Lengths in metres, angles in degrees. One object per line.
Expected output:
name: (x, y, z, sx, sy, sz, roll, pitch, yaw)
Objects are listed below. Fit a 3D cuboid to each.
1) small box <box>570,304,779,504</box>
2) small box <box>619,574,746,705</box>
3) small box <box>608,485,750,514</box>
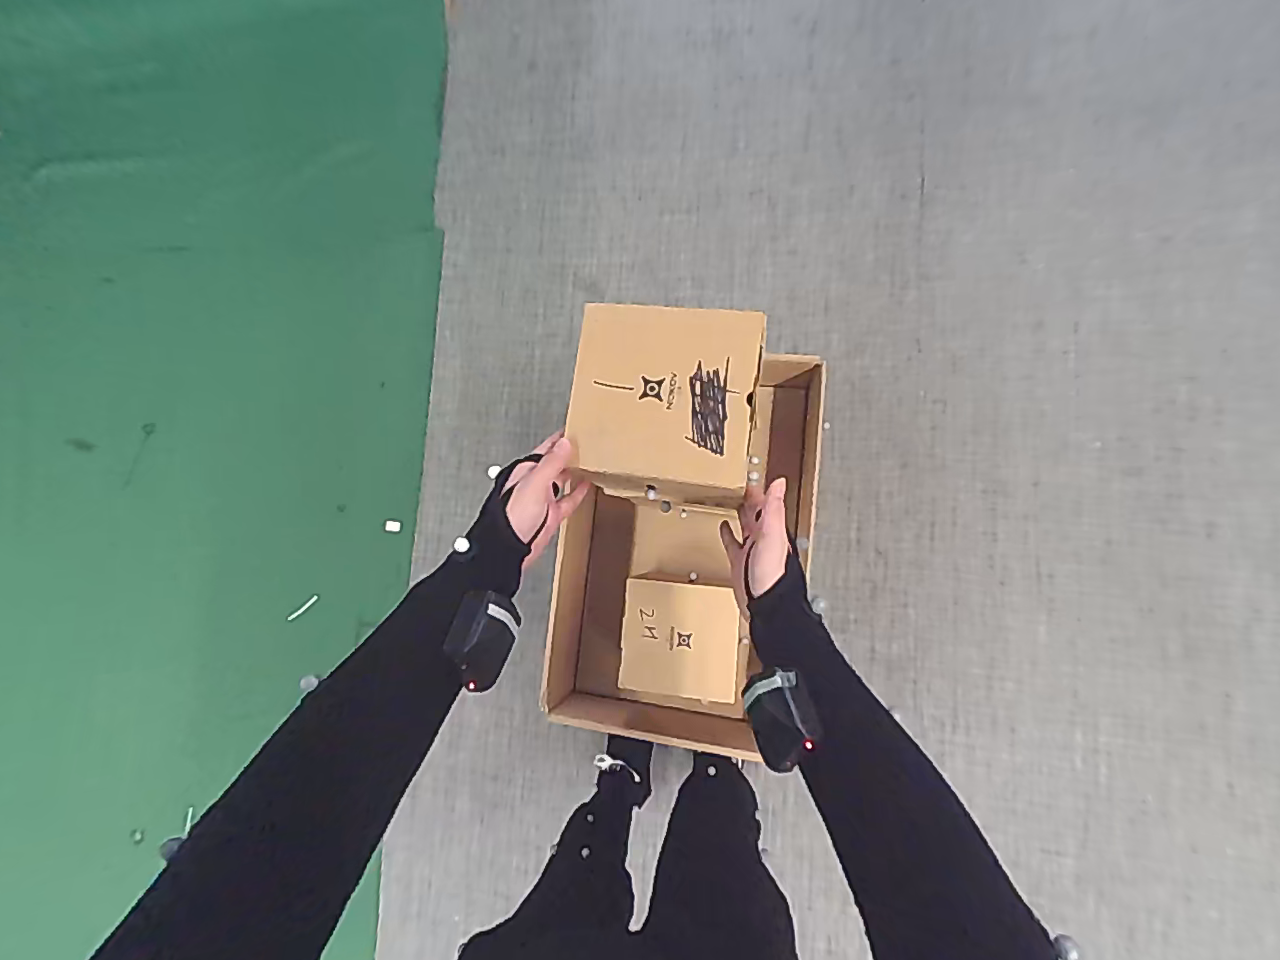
small box: (0.043, -0.070, 0.581, 0.179, 0.176, 0.168, 8, 84, 10)
small box: (0.075, 0.245, 0.877, 0.179, 0.176, 0.168, 5, 84, 11)
small box: (0.071, -0.045, 0.747, 0.179, 0.176, 0.168, 8, 87, 12)
